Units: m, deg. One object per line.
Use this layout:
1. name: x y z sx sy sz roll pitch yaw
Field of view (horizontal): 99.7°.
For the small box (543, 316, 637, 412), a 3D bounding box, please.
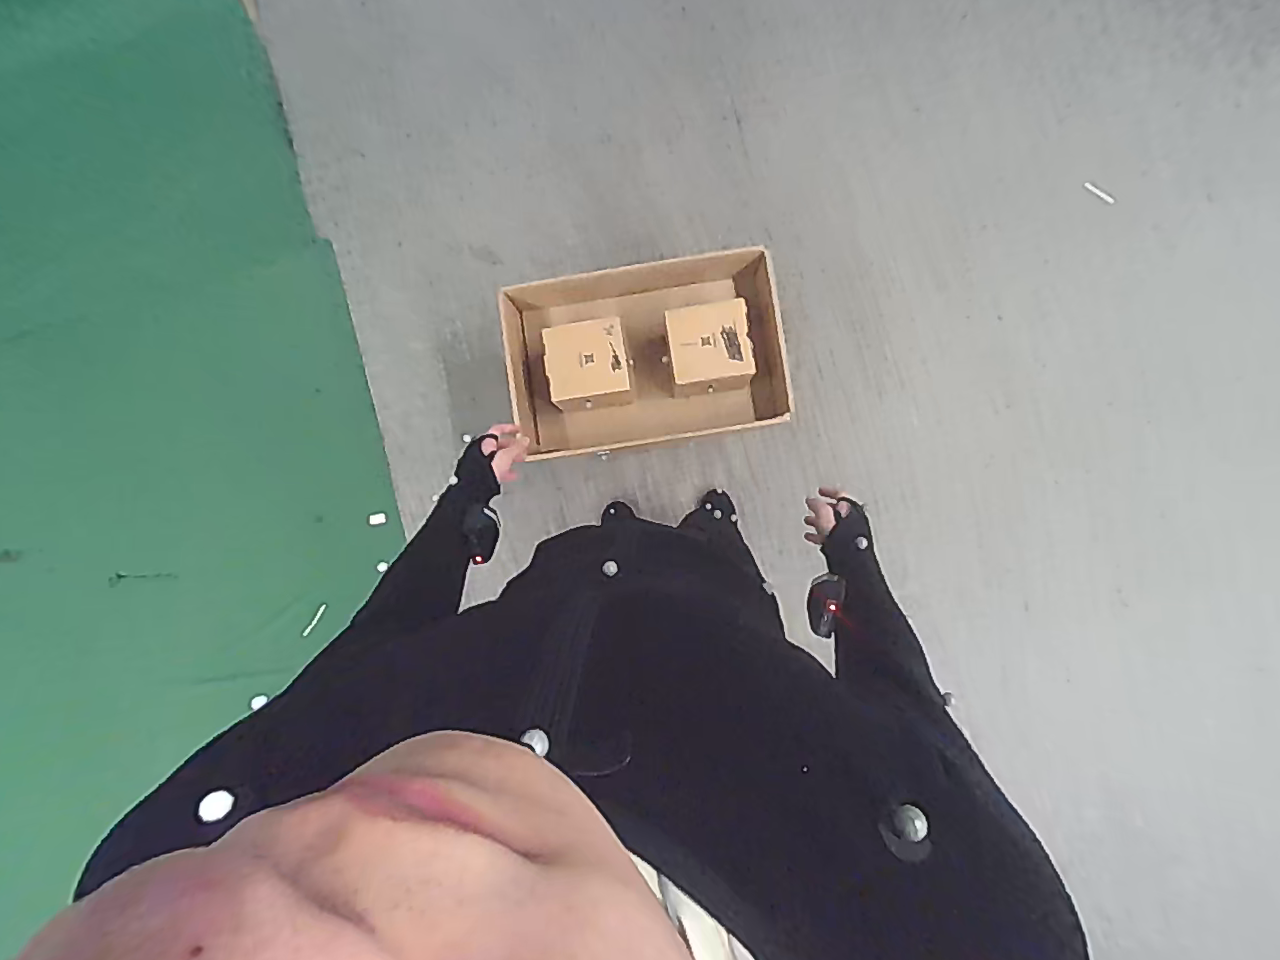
1. small box: -0.110 -0.260 1.246 0.179 0.176 0.168 -8 87 4
